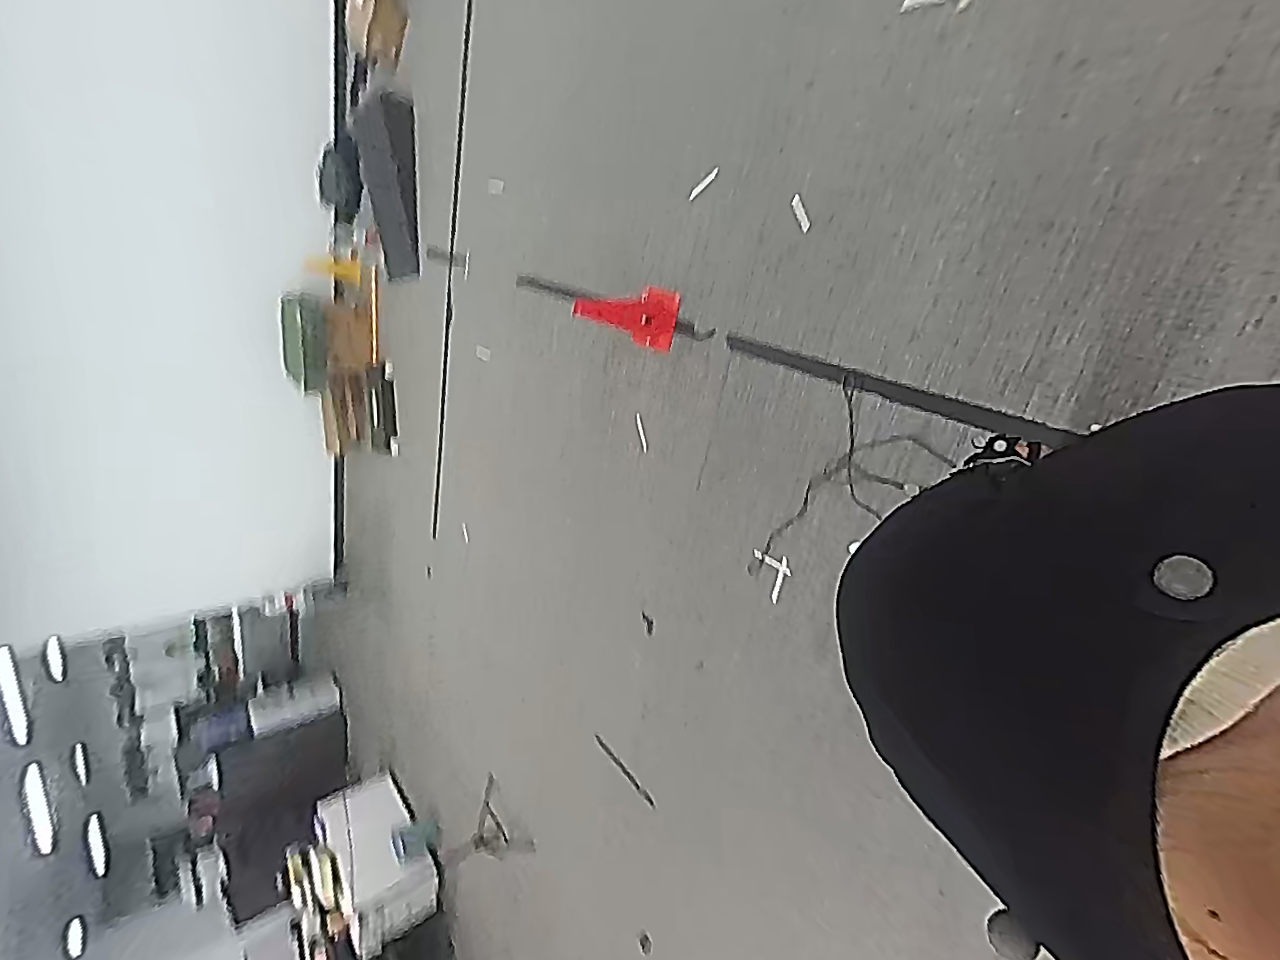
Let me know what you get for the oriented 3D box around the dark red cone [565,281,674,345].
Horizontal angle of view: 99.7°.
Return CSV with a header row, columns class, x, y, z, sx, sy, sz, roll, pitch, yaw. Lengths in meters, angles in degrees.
class,x,y,z,sx,sy,sz,roll,pitch,yaw
dark red cone,-0.082,-0.569,1.796,0.202,0.394,0.201,30,118,40
